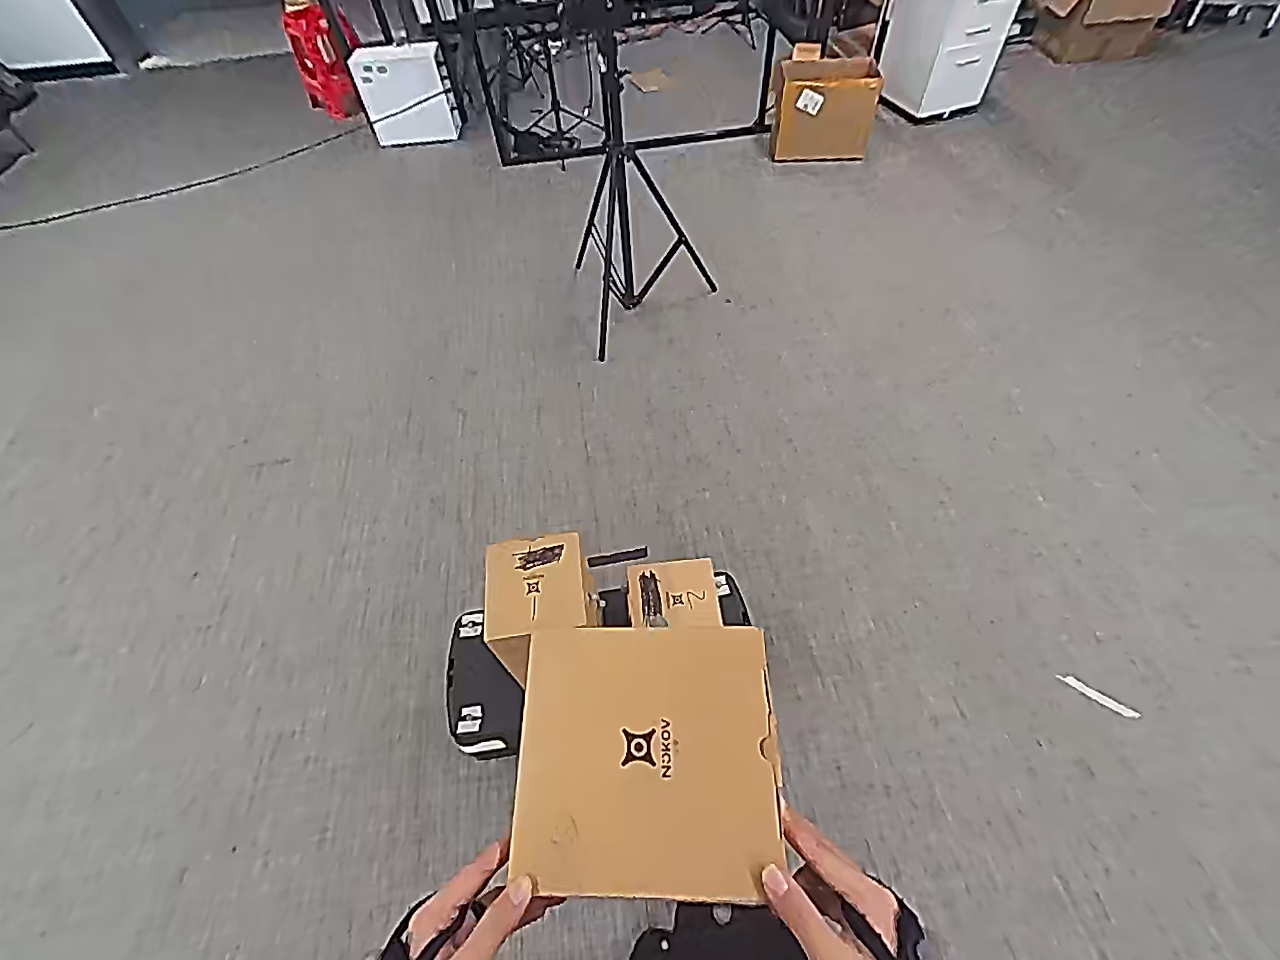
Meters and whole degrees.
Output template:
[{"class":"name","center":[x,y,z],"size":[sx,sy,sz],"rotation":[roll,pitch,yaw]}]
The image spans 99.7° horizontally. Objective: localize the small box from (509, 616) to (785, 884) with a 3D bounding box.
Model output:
[{"class":"small box","center":[0.010,0.216,0.442],"size":[0.179,0.176,0.168],"rotation":[-1,60,3]}]

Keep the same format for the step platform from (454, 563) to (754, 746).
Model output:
[{"class":"step platform","center":[-0.071,0.397,1.254],"size":[0.684,0.204,0.286],"rotation":[-9,54,-2]}]

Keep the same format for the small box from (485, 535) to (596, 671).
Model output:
[{"class":"small box","center":[-0.171,0.222,0.969],"size":[0.168,0.176,0.179],"rotation":[-8,55,-1]}]
